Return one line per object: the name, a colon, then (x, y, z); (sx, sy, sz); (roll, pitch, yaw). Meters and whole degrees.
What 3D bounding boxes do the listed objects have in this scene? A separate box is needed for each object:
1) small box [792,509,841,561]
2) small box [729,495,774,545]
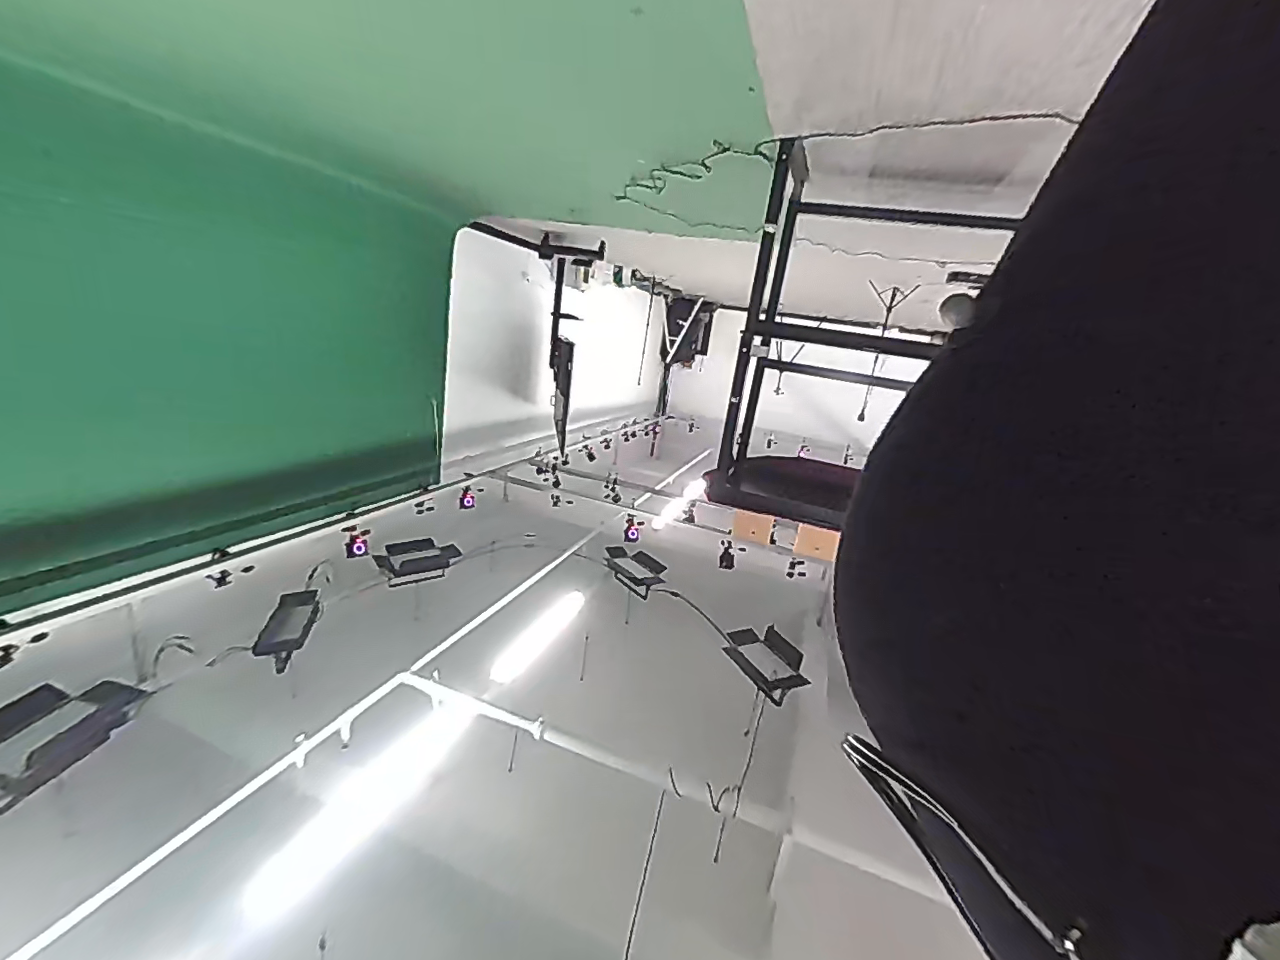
small box: (0.792, 0.241, 2.433); (0.179, 0.176, 0.168); (12, -163, 16)
small box: (0.521, 0.179, 2.508); (0.179, 0.176, 0.168); (12, -166, 13)
